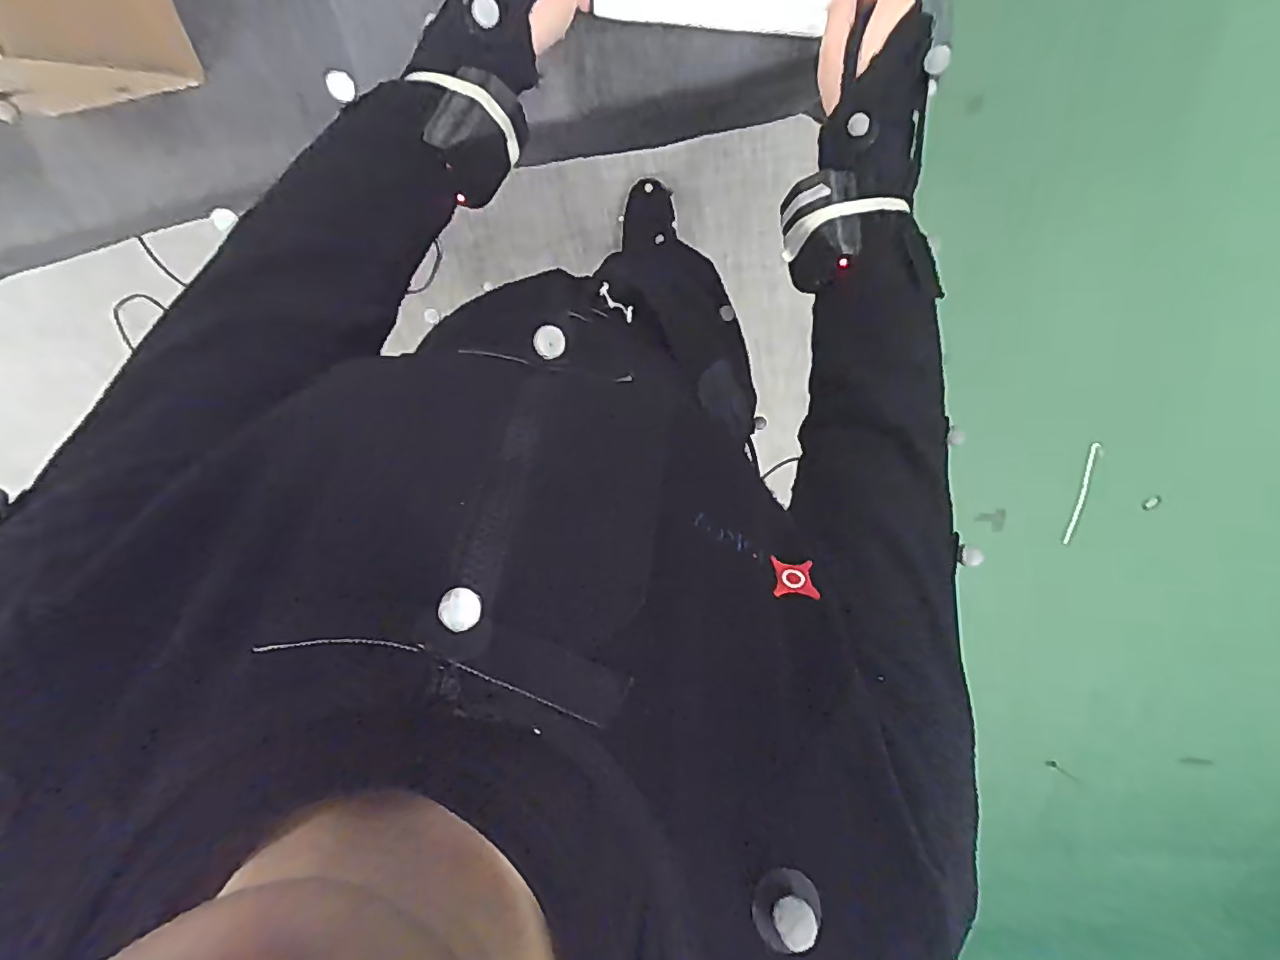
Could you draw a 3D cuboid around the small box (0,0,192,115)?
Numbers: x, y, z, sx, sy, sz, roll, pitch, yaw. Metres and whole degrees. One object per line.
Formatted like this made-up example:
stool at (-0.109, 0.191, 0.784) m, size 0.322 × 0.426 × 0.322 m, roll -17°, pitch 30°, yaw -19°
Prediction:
small box at (-0.467, -0.358, 0.360) m, size 0.168 × 0.176 × 0.179 m, roll -4°, pitch 120°, yaw 9°
